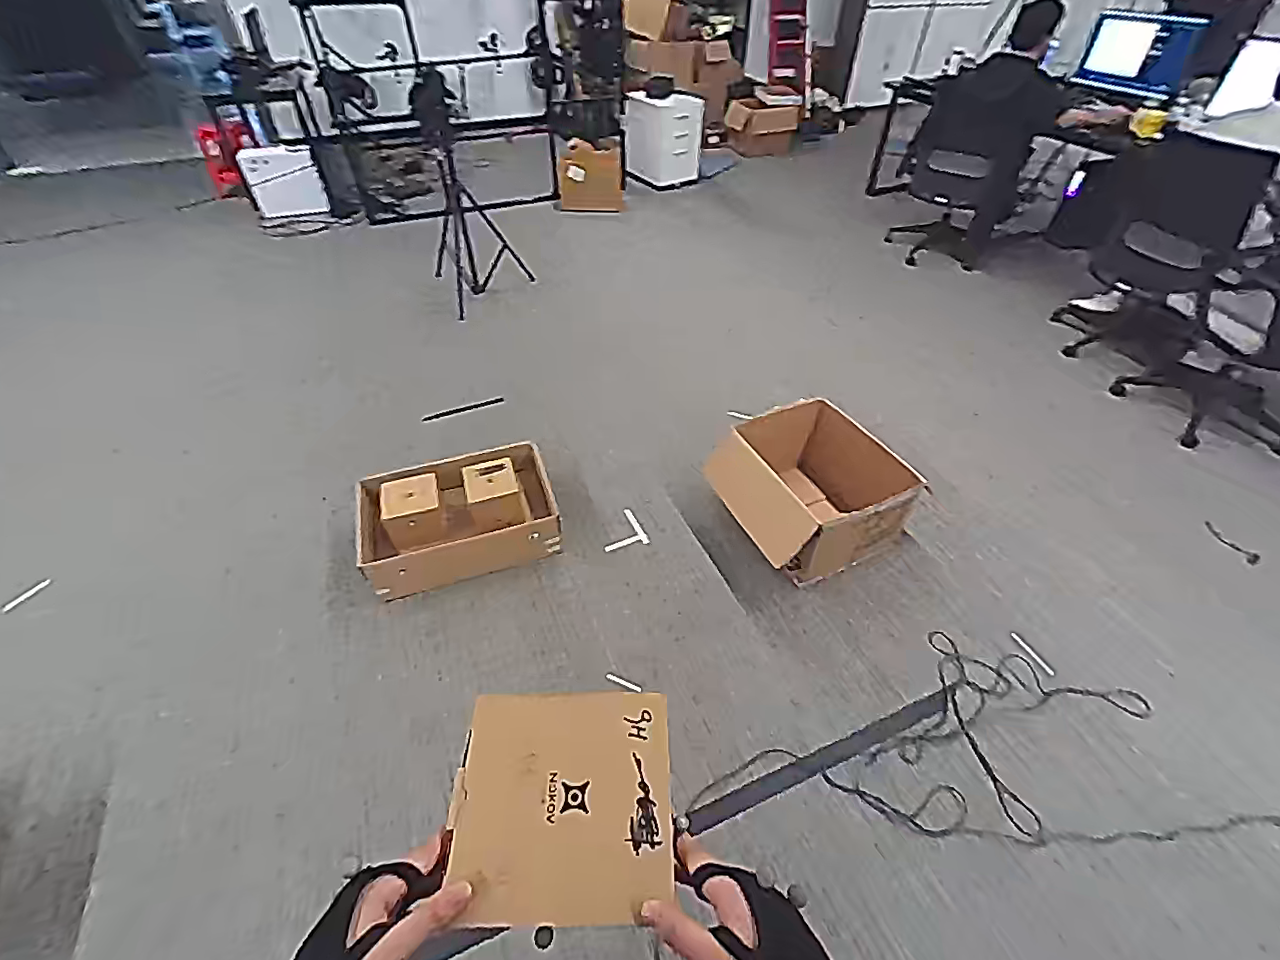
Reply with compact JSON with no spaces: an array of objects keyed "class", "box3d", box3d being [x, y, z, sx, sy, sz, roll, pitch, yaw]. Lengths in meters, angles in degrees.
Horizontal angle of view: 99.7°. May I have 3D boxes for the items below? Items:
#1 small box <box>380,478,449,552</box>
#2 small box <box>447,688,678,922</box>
[{"class":"small box","box3d":[-0.763,0.122,1.833,0.179,0.176,0.168,-13,49,-15]},{"class":"small box","box3d":[-0.056,0.309,0.510,0.179,0.176,0.168,0,50,0]}]
